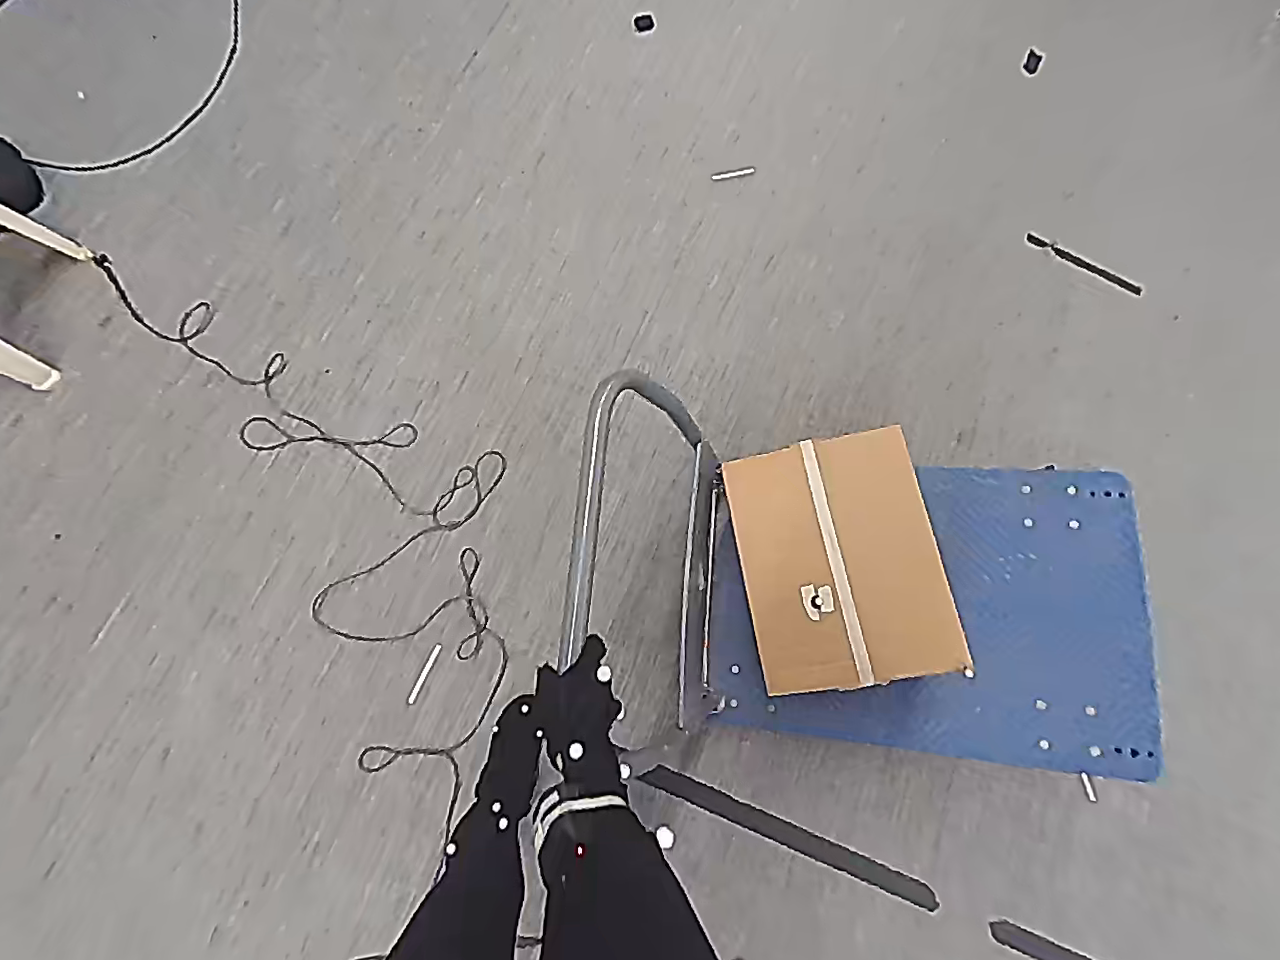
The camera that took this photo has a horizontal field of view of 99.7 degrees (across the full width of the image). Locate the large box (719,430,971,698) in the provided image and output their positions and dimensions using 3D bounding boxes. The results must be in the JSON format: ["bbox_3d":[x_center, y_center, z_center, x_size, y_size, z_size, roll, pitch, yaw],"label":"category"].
[{"bbox_3d":[0.361,0.166,1.047,0.320,0.320,0.408,-14,74,12],"label":"large box"}]
